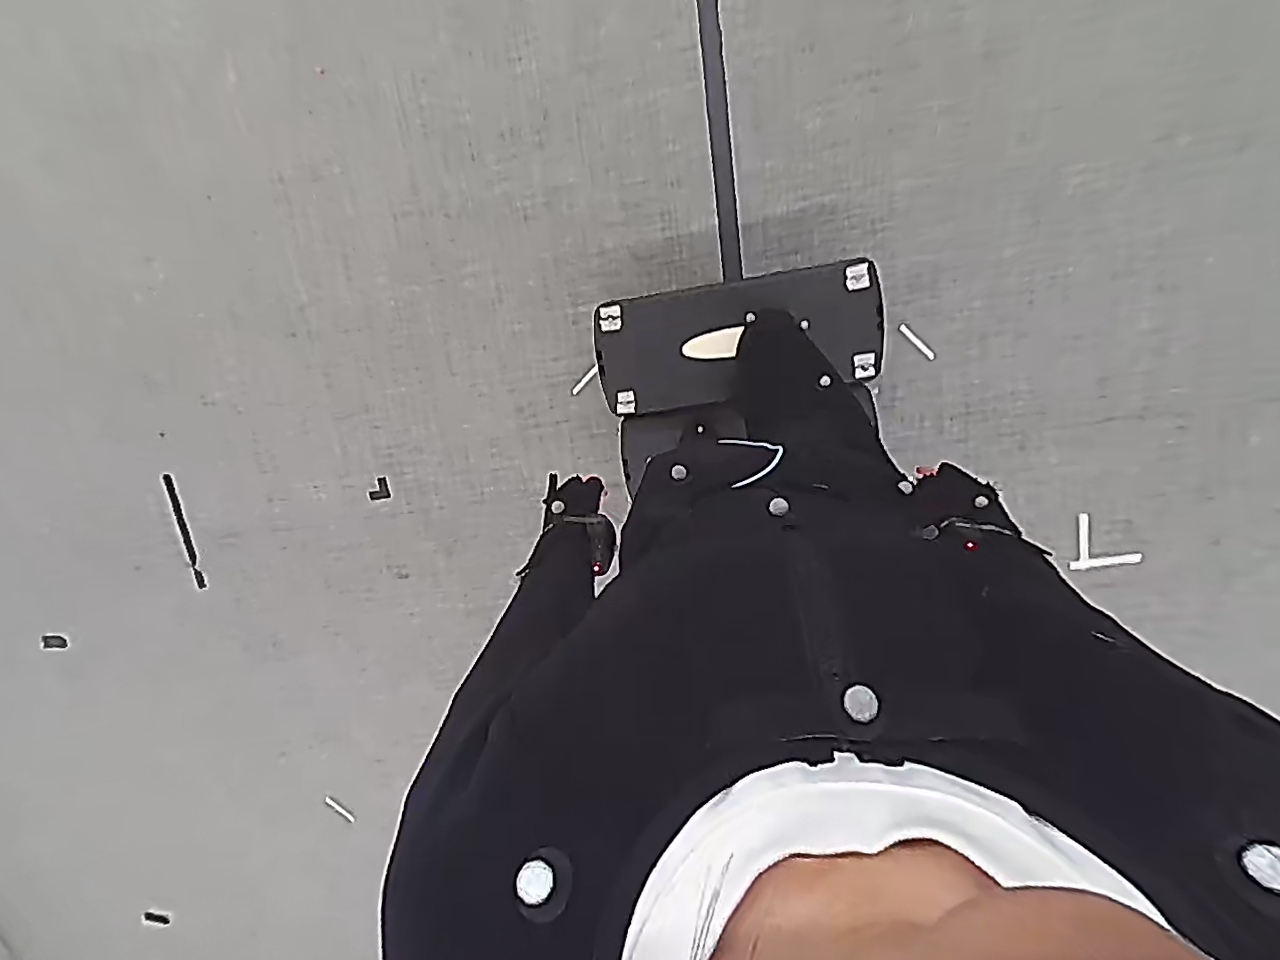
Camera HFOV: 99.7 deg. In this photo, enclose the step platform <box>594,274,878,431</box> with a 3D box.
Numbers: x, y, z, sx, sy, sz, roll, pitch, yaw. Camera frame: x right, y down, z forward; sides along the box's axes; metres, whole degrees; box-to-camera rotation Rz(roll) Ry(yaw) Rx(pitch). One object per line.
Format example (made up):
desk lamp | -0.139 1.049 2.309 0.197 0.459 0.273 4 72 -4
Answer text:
step platform | 0.226 -0.312 1.359 0.684 0.204 0.286 -8 103 8
